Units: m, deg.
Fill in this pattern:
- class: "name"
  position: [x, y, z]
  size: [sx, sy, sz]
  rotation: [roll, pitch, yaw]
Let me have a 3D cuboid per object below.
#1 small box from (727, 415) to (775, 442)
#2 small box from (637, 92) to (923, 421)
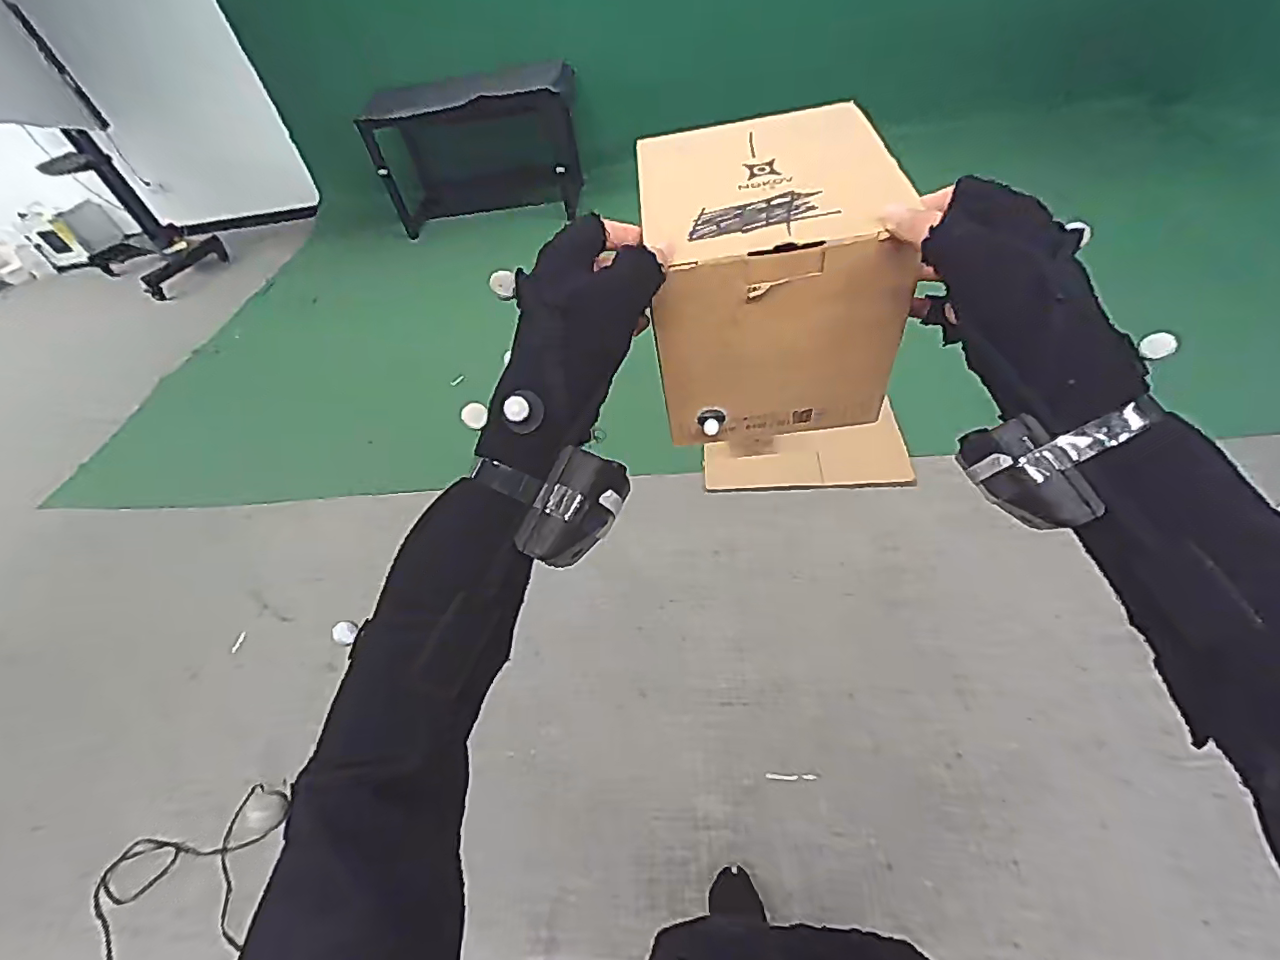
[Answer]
- class: "small box"
  position: [0.402, -0.261, 1.986]
  size: [0.168, 0.176, 0.179]
  rotation: [-4, 48, 9]
- class: "small box"
  position: [0.092, -0.160, 0.423]
  size: [0.168, 0.176, 0.179]
  rotation: [-6, 54, 6]
